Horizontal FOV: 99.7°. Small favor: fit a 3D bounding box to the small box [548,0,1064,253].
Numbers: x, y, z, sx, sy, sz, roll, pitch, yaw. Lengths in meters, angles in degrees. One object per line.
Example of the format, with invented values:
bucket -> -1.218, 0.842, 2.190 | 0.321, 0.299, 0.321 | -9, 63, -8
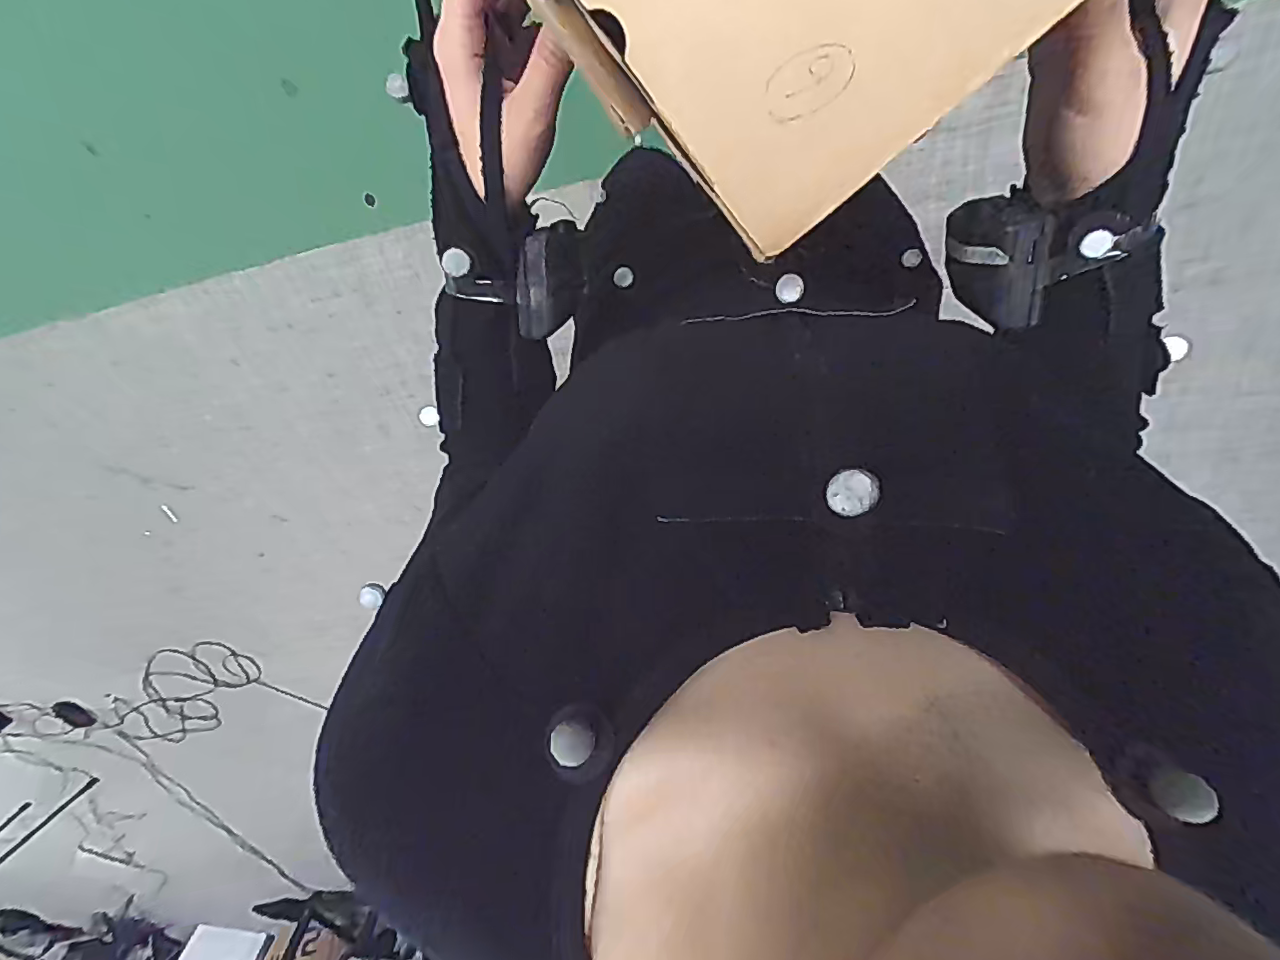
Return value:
small box -> 0.063, -0.222, 0.203 | 0.179, 0.176, 0.168 | -36, 111, 27
